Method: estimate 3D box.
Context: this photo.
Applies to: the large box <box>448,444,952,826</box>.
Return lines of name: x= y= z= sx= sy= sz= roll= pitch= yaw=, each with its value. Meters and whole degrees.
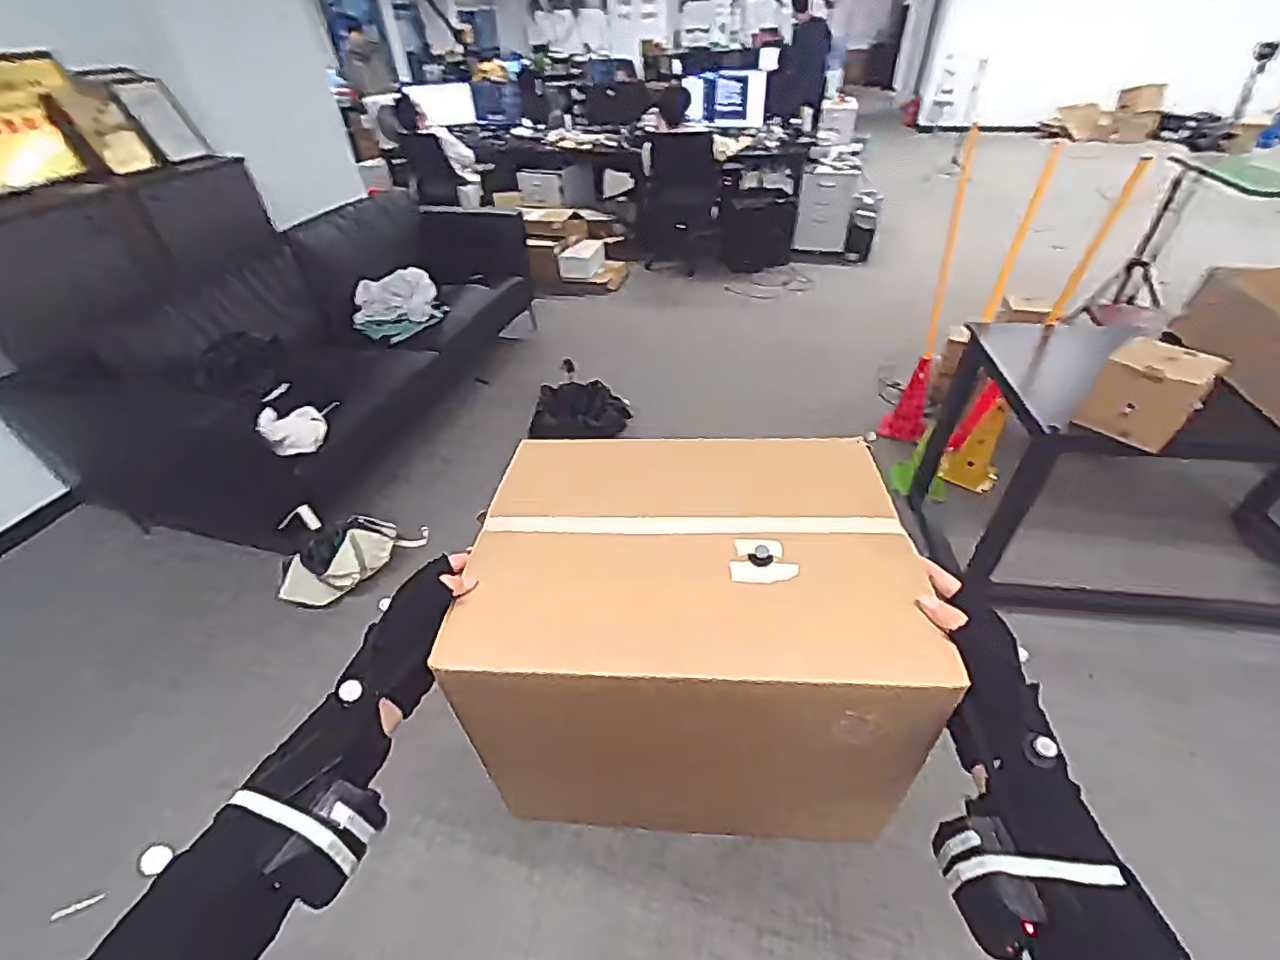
large box: x=0.054 y=0.169 z=0.627 sx=0.408 sy=0.320 sz=0.320 roll=0 pitch=39 yaw=5
